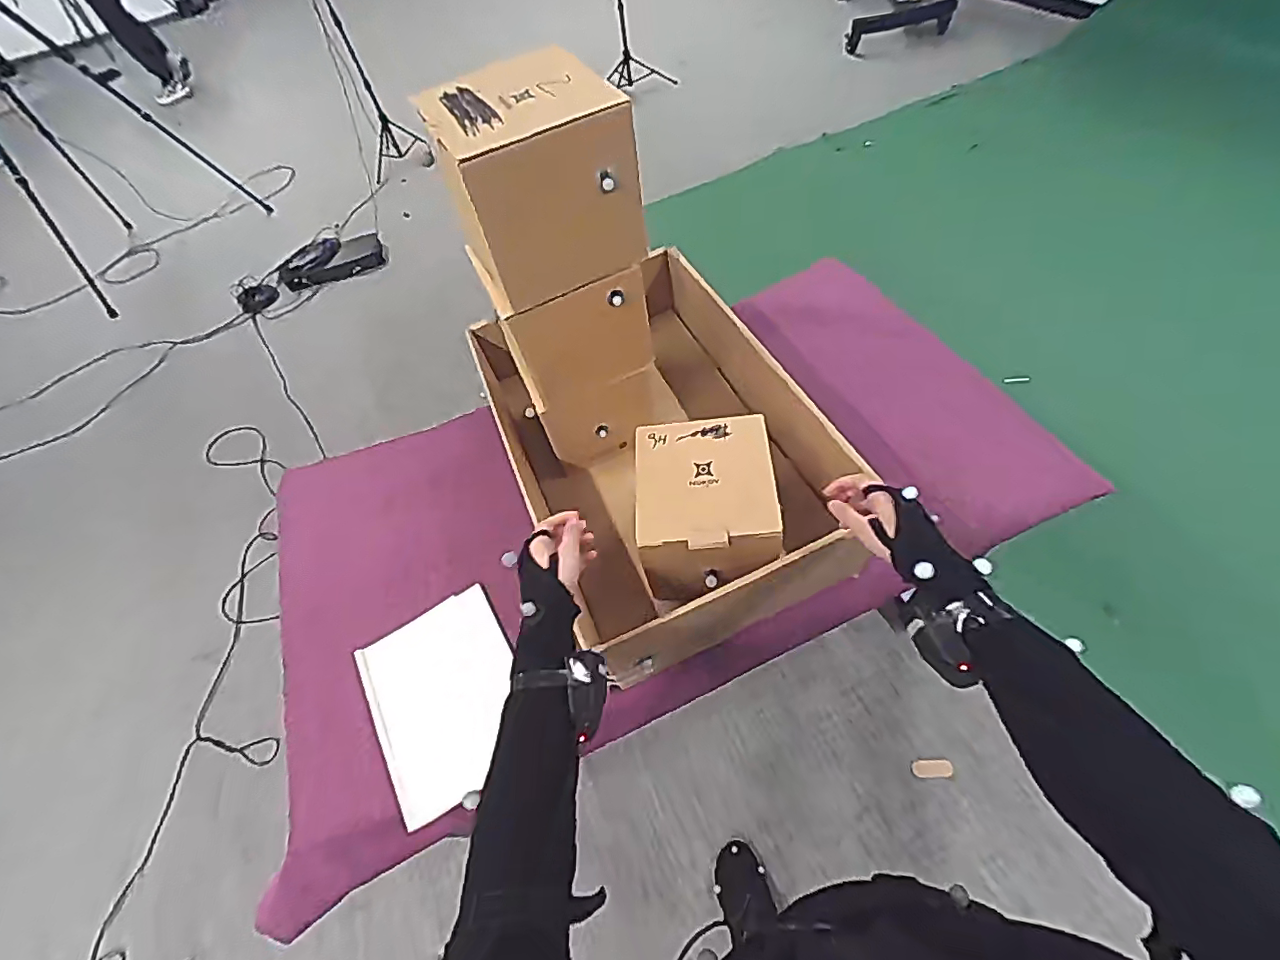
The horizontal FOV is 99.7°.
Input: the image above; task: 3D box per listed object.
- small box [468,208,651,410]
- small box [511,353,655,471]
[{"bbox_3d":[-0.101,-0.224,0.730,0.179,0.176,0.168,-26,57,-8],"label":"small box"},{"bbox_3d":[-0.086,-0.136,0.865,0.168,0.176,0.179,-24,57,-7],"label":"small box"}]
